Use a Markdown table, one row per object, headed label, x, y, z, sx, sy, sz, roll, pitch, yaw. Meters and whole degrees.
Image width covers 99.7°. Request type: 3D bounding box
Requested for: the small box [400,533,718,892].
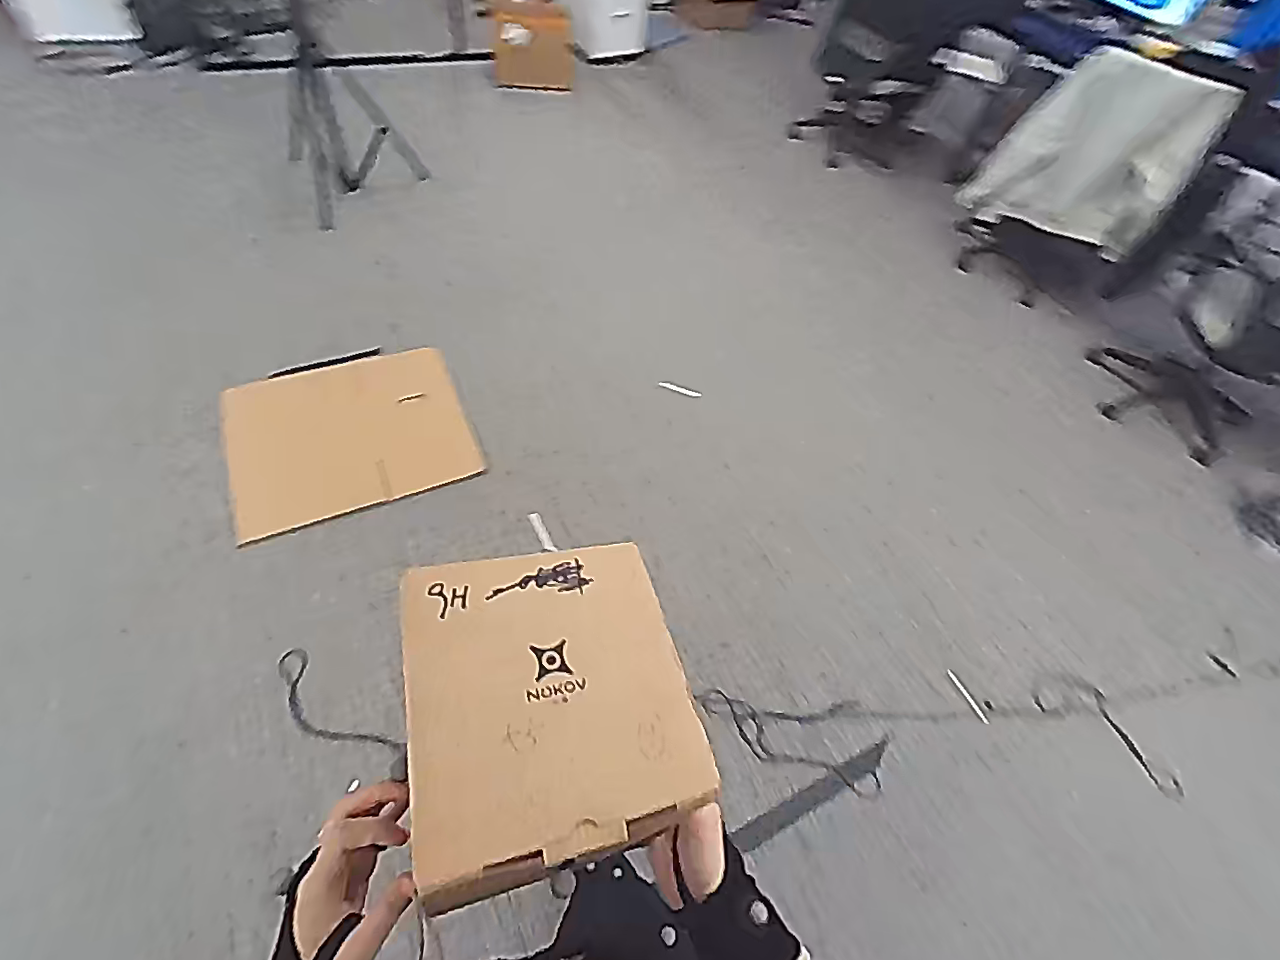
| label | x | y | z | sx | sy | sz | roll | pitch | yaw |
| --- | --- | --- | --- | --- | --- | --- | --- | --- | --- |
| small box | -0.072 | 0.162 | 0.383 | 0.168 | 0.176 | 0.179 | -5 | 53 | -22 |
